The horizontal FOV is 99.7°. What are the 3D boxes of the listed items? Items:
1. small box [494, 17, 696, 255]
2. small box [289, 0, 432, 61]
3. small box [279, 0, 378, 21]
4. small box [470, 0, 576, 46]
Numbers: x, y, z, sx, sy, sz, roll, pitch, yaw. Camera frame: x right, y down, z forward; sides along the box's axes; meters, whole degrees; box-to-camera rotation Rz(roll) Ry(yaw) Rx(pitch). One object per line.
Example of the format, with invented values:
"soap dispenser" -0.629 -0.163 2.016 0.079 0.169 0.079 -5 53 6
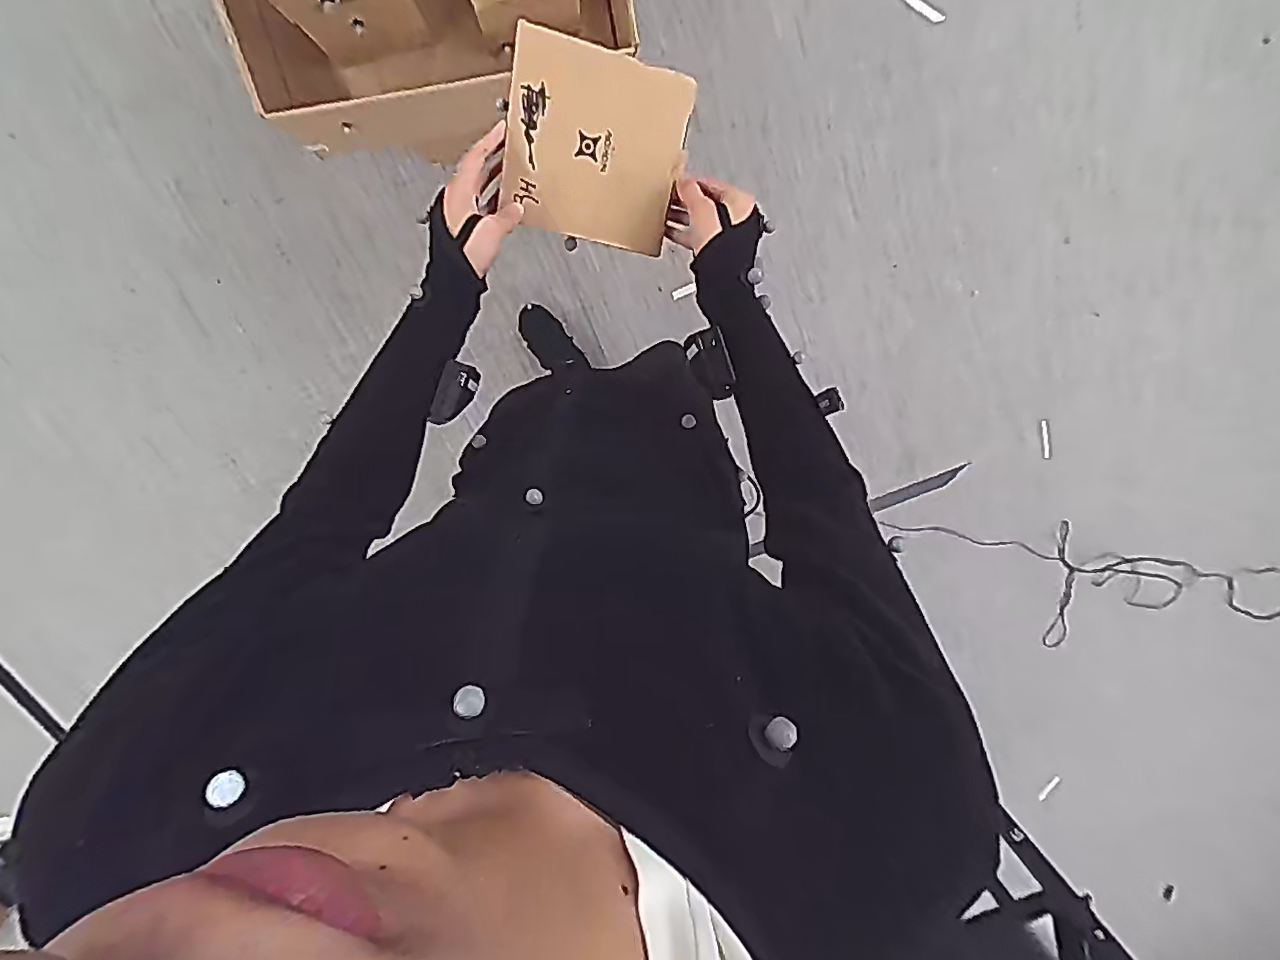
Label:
"small box" -0.061 -0.362 0.601 0.179 0.176 0.168 7 114 -16
"small box" -0.452 -0.793 0.841 0.179 0.176 0.168 -16 109 -2
"small box" -0.443 -0.743 0.685 0.168 0.176 0.179 -17 109 1
"small box" -0.200 -0.832 0.860 0.168 0.176 0.179 -15 108 -2
